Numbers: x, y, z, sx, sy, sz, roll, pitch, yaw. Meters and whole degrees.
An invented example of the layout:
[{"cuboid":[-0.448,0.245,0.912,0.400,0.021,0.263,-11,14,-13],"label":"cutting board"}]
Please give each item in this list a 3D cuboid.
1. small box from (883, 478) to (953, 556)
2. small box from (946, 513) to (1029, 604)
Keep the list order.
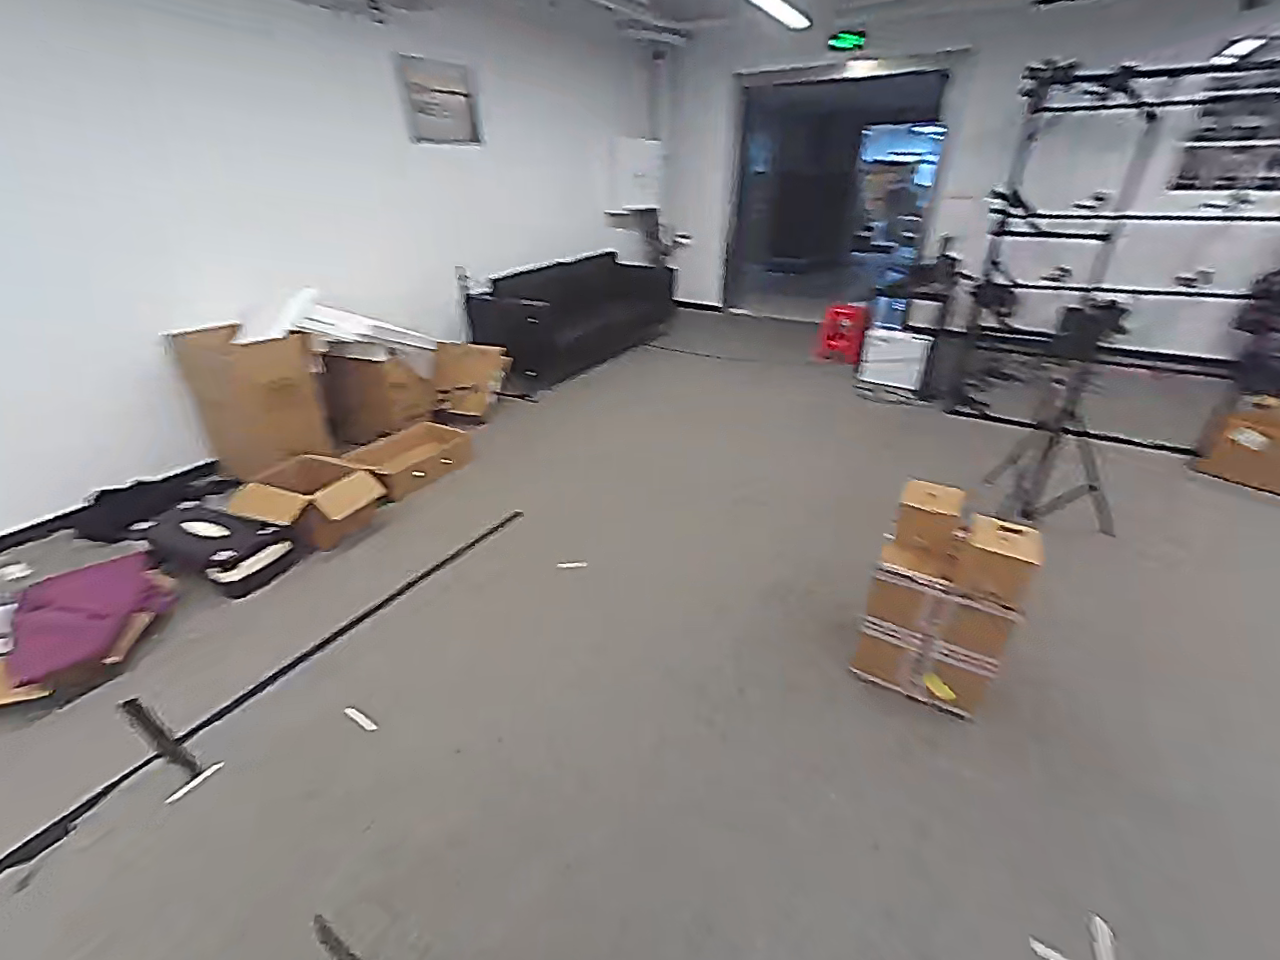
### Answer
[{"cuboid":[0.909,0.120,1.776,0.168,0.176,0.179,15,35,29],"label":"small box"},{"cuboid":[1.015,0.229,1.586,0.168,0.176,0.179,17,36,27],"label":"small box"}]
